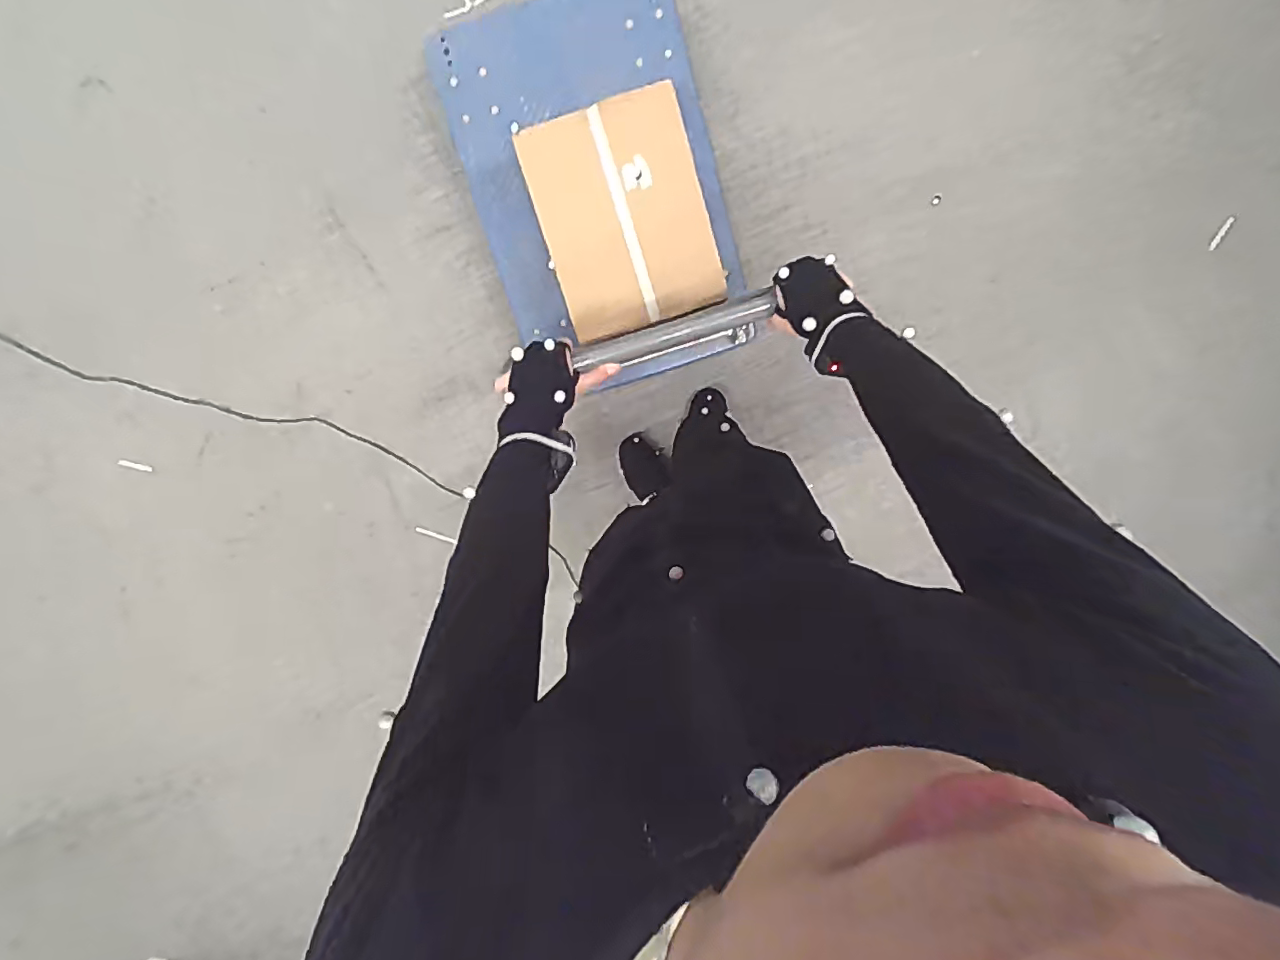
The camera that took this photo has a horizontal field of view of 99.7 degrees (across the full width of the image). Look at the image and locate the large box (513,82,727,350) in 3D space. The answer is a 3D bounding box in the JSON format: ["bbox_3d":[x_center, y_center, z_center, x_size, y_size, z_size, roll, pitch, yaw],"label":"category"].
[{"bbox_3d":[-0.033,-0.528,1.177,0.320,0.320,0.408,-17,101,1],"label":"large box"}]
